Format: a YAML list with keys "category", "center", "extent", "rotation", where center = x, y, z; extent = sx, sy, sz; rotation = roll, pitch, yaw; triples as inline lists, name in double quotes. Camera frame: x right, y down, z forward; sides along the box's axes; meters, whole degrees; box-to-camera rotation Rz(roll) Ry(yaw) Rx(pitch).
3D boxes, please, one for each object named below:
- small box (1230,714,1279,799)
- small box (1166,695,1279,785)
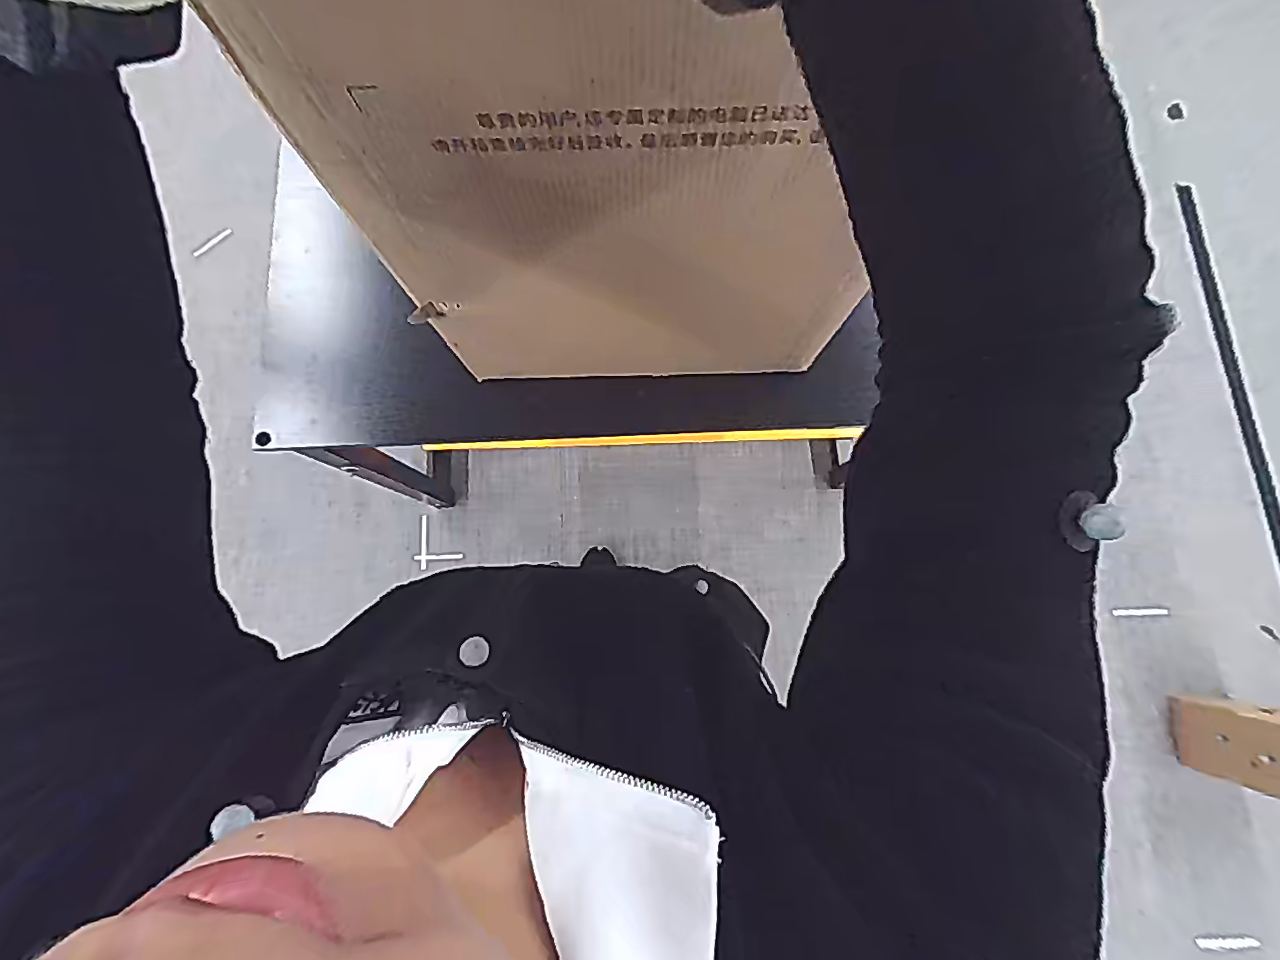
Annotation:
- category: "small box"
  center: [1.494, 0.626, 1.201]
  extent: [0.179, 0.176, 0.168]
  rotation: [1, 79, 0]
- category: "small box"
  center: [1.488, 0.650, 1.364]
  extent: [0.168, 0.176, 0.179]
  rotation: [2, 80, 0]
